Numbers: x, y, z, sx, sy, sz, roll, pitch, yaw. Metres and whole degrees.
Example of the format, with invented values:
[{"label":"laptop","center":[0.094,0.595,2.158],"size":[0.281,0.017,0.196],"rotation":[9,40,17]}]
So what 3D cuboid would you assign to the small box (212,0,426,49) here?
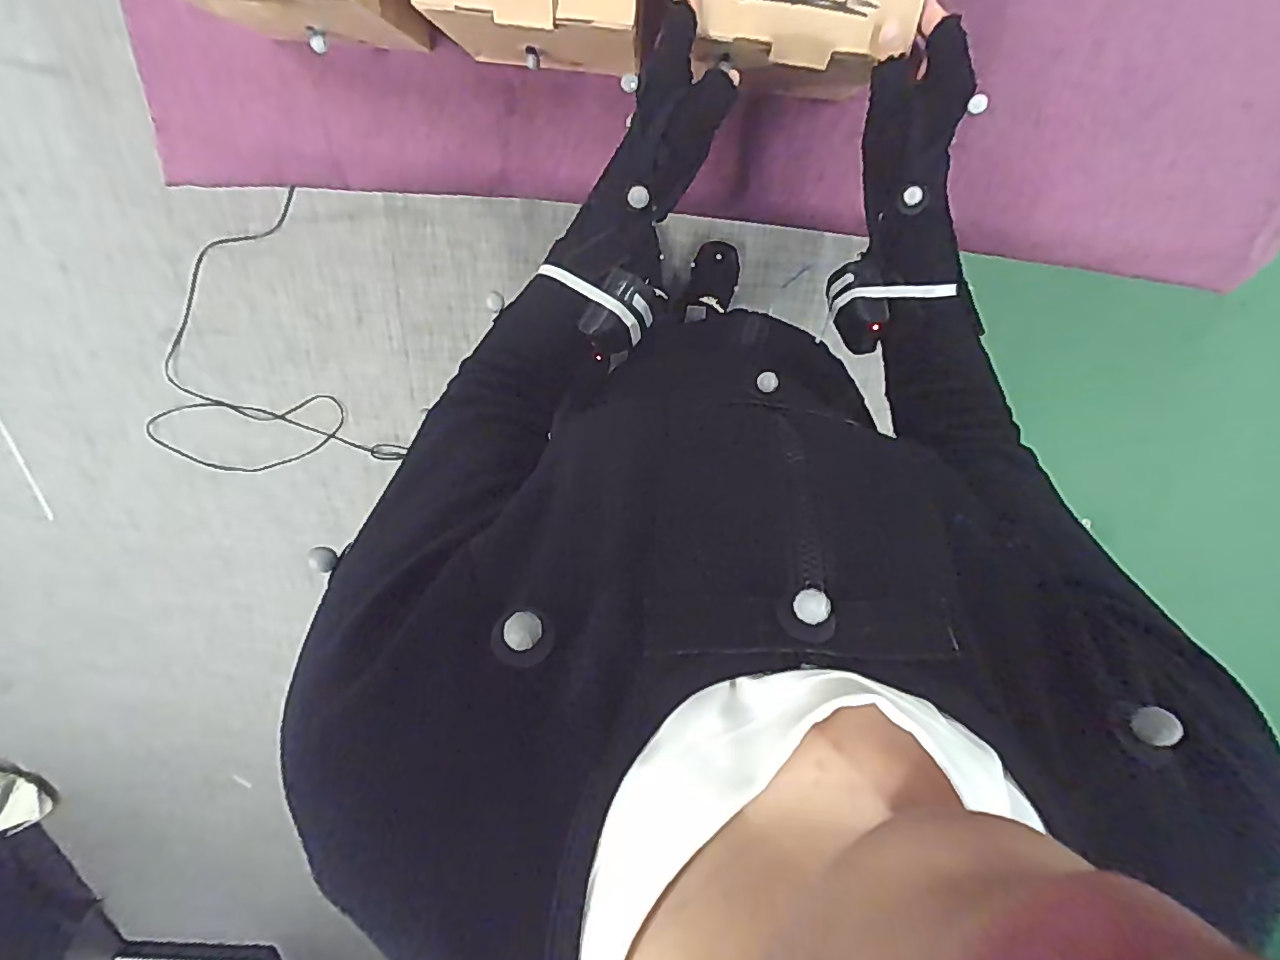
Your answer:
[{"label":"small box","center":[-0.285,-0.477,0.427],"size":[0.168,0.176,0.179],"rotation":[4,118,-1]}]
